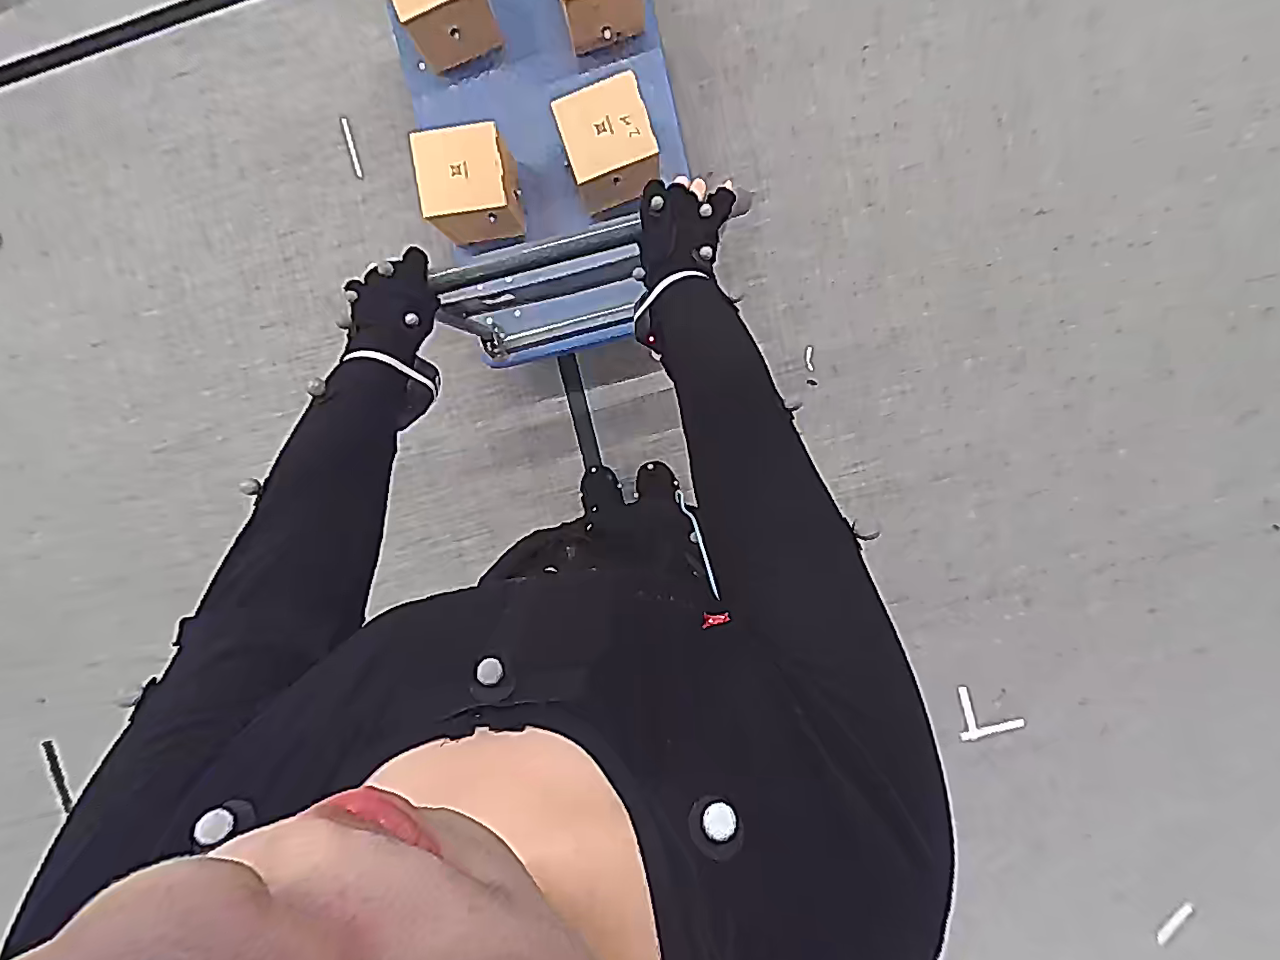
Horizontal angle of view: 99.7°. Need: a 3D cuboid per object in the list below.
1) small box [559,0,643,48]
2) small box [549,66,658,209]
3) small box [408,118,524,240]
[{"bbox_3d":[-0.095,-1.038,1.093,0.168,0.176,0.179,-16,97,4],"label":"small box"},{"bbox_3d":[-0.068,-0.701,1.131,0.179,0.176,0.168,-19,96,5],"label":"small box"},{"bbox_3d":[-0.362,-0.629,1.153,0.179,0.176,0.168,-8,96,2],"label":"small box"}]
